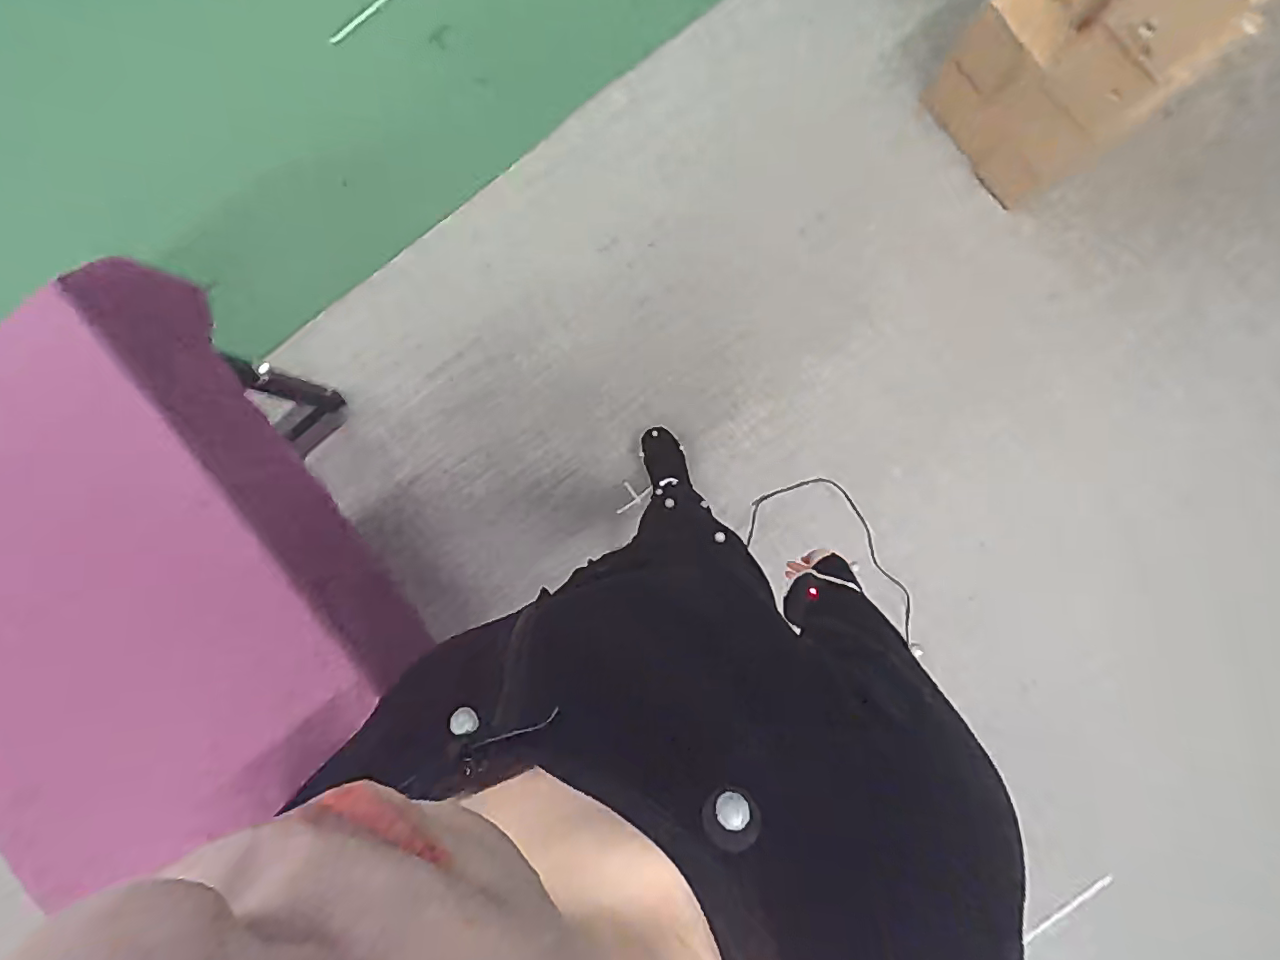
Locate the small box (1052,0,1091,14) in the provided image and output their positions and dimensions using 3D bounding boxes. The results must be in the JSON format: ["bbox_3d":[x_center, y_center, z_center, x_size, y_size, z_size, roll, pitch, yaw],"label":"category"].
[{"bbox_3d":[0.959,-1.137,1.115,0.179,0.176,0.168,-35,86,-1],"label":"small box"}]

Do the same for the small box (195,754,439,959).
[{"bbox_3d":[-0.402,0.506,0.705,0.179,0.176,0.168,-40,86,1],"label":"small box"}]
